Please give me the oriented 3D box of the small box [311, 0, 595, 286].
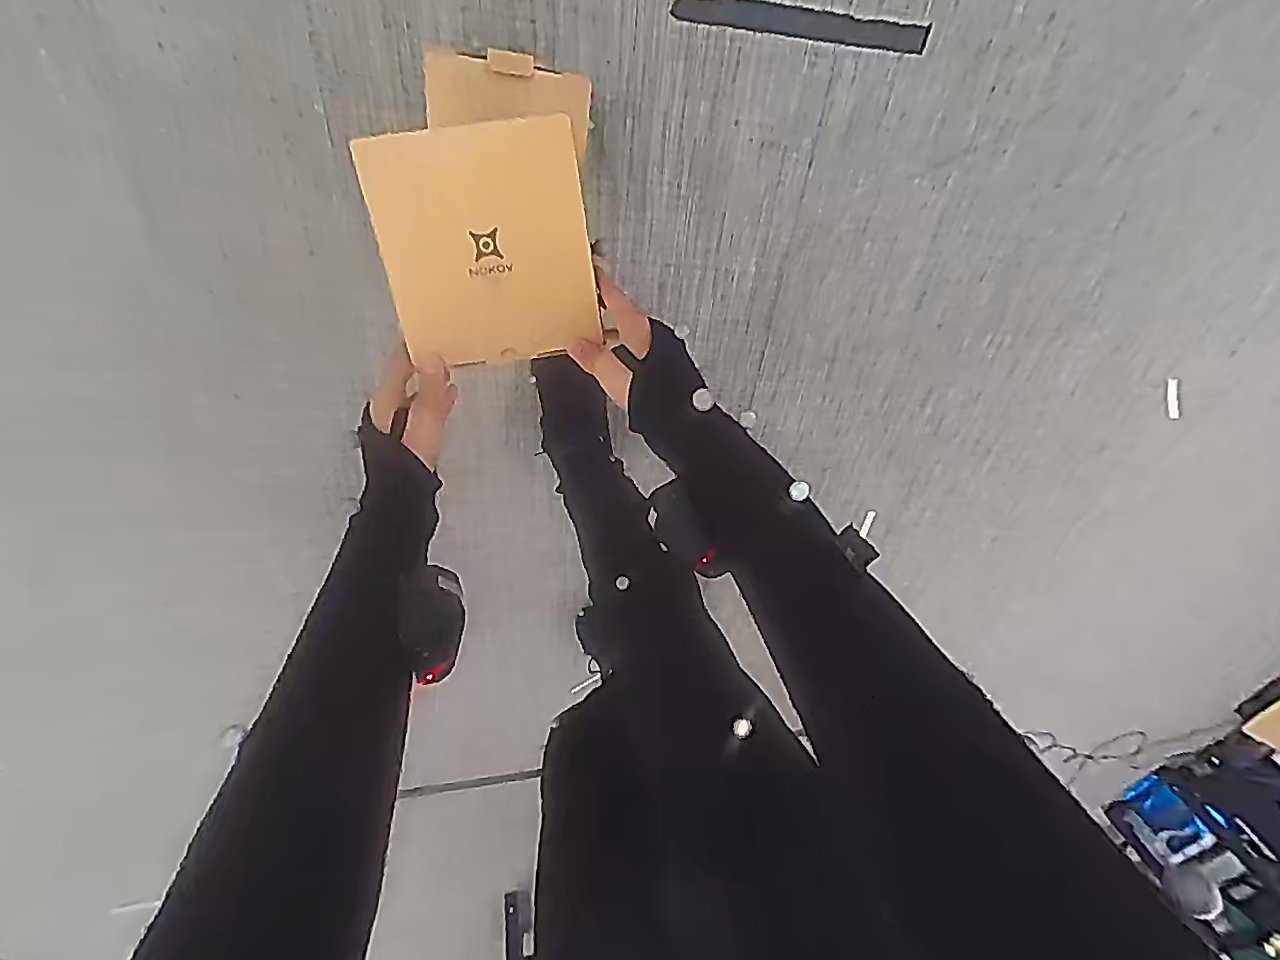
[{"bbox_3d":[-0.135,-0.270,0.461,0.168,0.176,0.179,-9,114,-3],"label":"small box"}]
